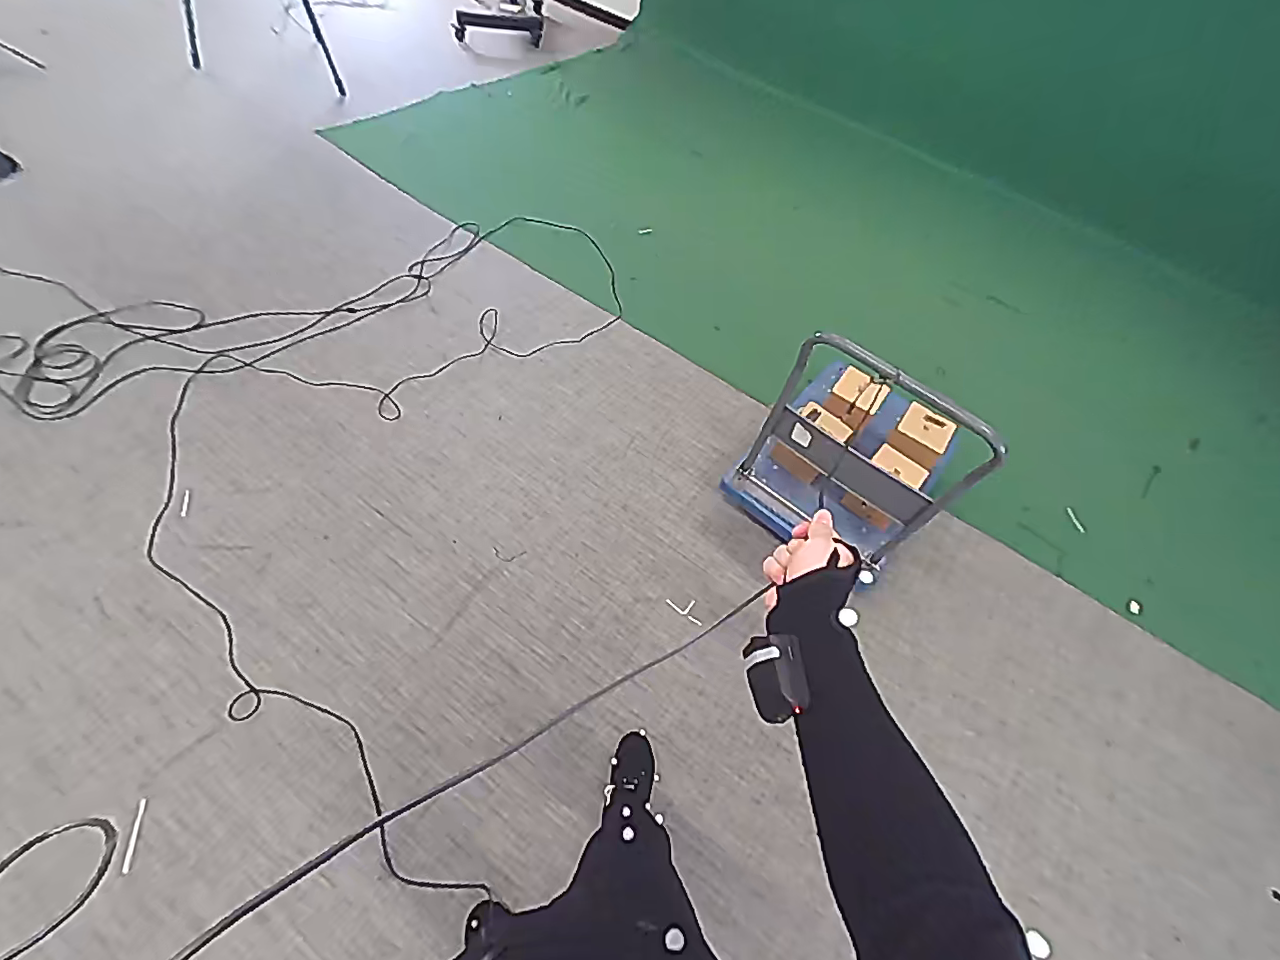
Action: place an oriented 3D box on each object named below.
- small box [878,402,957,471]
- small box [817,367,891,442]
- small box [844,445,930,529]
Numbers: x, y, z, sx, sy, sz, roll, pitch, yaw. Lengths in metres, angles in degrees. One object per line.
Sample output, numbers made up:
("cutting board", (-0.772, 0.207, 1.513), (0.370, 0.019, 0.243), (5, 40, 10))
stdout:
("small box", (0.974, -0.134, 1.908), (0.168, 0.176, 0.179), (34, 58, 15))
("small box", (0.771, -0.271, 1.968), (0.168, 0.176, 0.179), (35, 57, 14))
("small box", (0.802, 0.024, 1.771), (0.168, 0.176, 0.179), (38, 59, 17))
